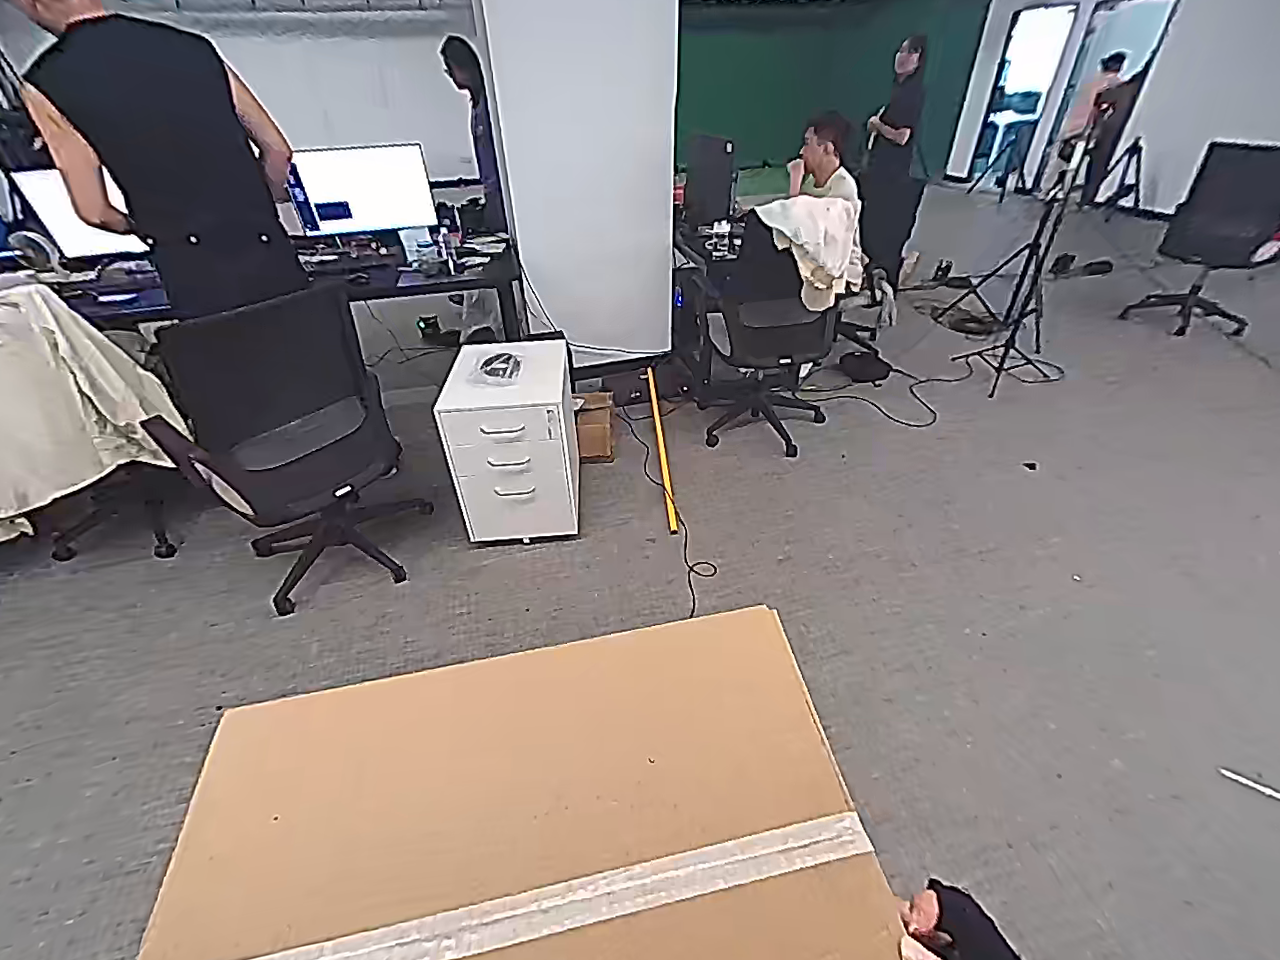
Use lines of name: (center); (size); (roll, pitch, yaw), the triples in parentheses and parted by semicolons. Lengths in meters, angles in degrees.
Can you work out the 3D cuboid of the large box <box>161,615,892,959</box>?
large box: (-0.062, 0.350, 0.420); (0.408, 0.320, 0.320); (-10, 47, -6)
